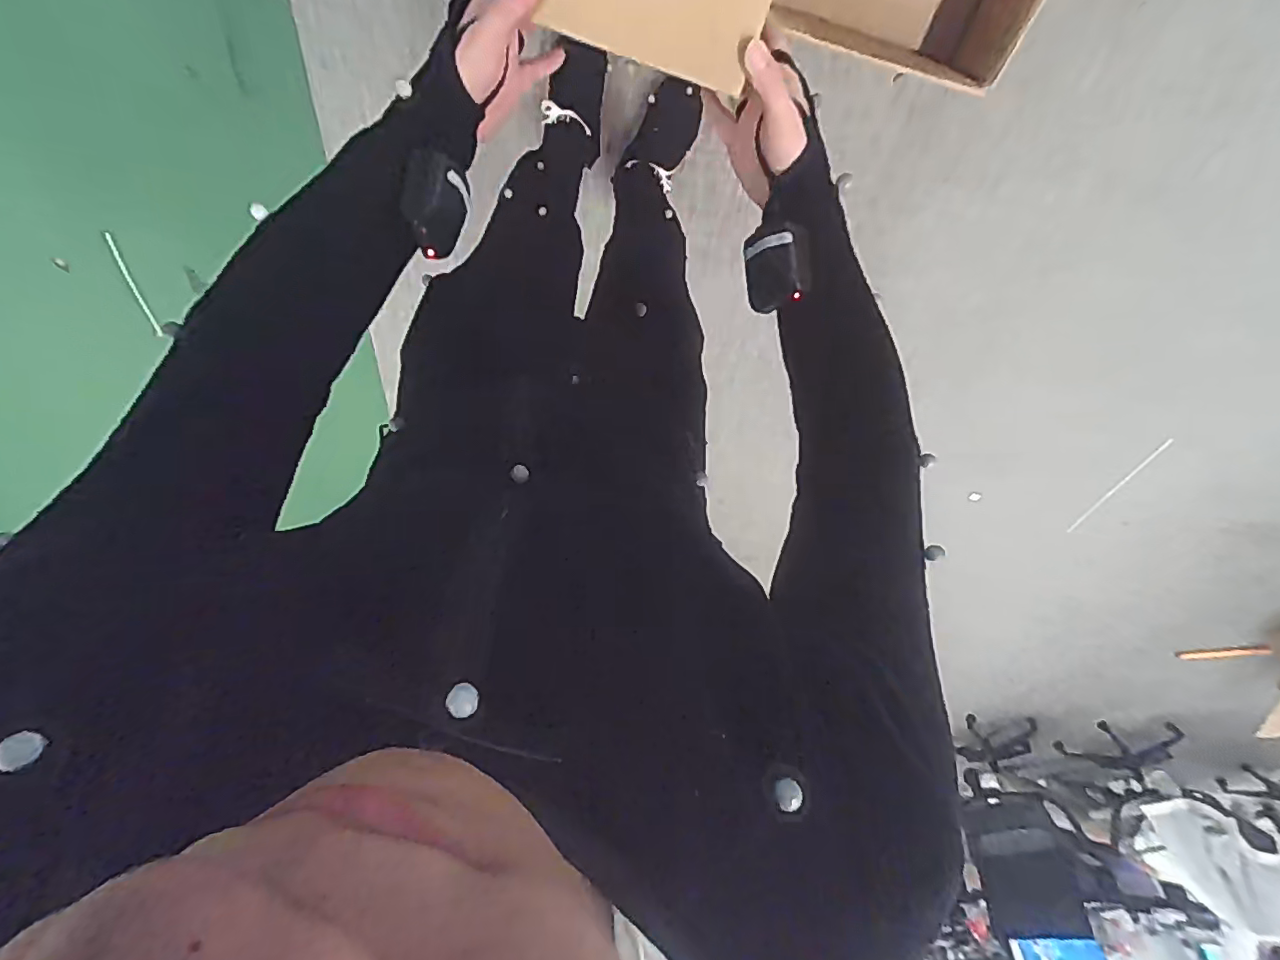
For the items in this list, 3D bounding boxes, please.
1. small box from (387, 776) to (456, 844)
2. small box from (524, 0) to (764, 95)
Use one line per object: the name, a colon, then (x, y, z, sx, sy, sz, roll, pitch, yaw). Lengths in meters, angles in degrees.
small box: (-0.733, 1.121, 1.834, 0.168, 0.176, 0.179, 7, 138, -5)
small box: (0.022, -0.428, 0.406, 0.168, 0.176, 0.179, 14, 130, -10)
